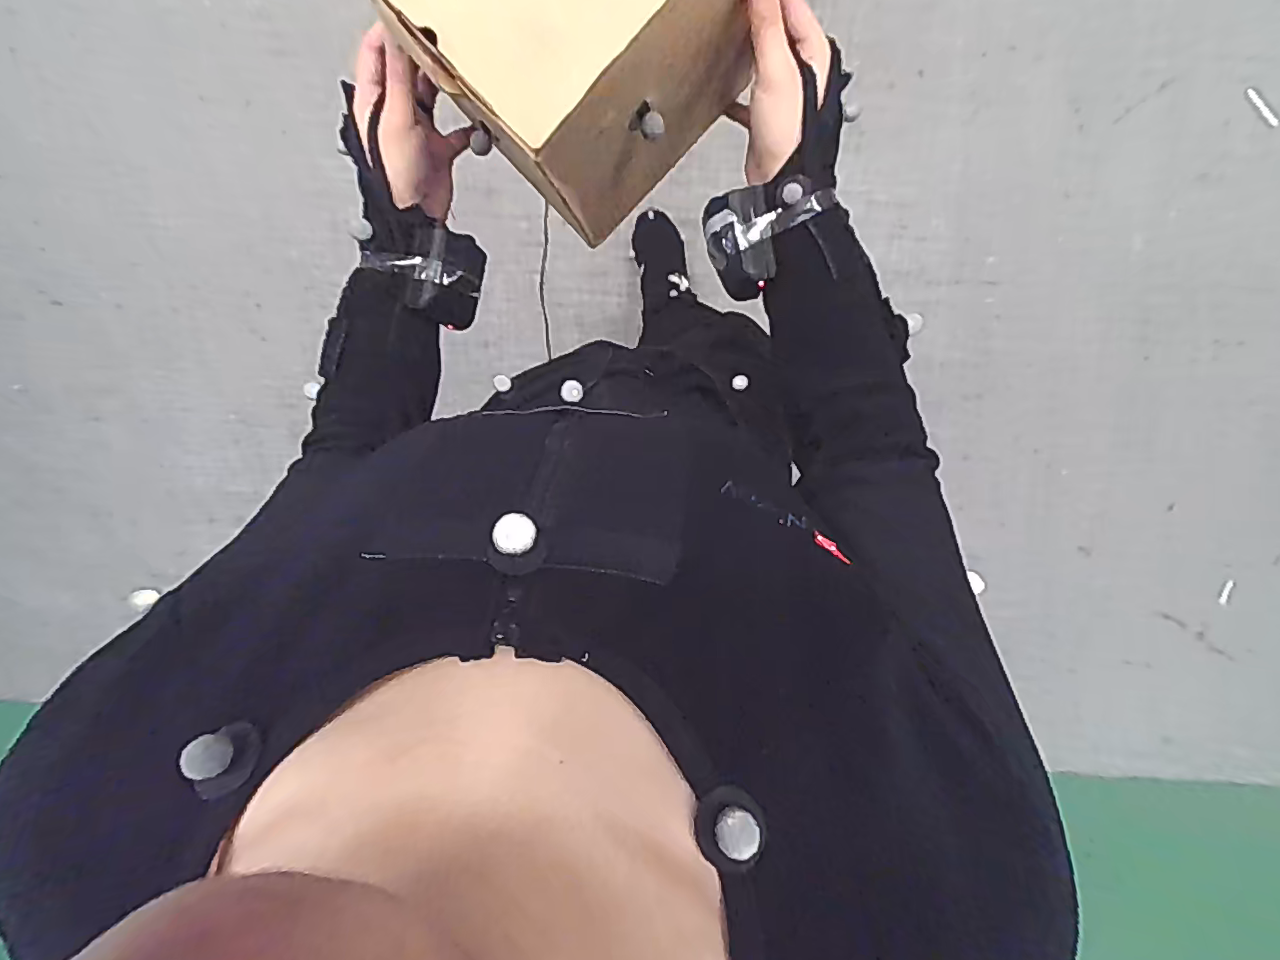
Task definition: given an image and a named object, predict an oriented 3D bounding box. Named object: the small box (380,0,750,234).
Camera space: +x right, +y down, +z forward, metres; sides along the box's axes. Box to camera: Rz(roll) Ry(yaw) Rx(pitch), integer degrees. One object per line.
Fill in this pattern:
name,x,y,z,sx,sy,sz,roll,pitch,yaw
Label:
small box,-0.039,-0.301,0.355,0.179,0.176,0.168,-44,90,10
